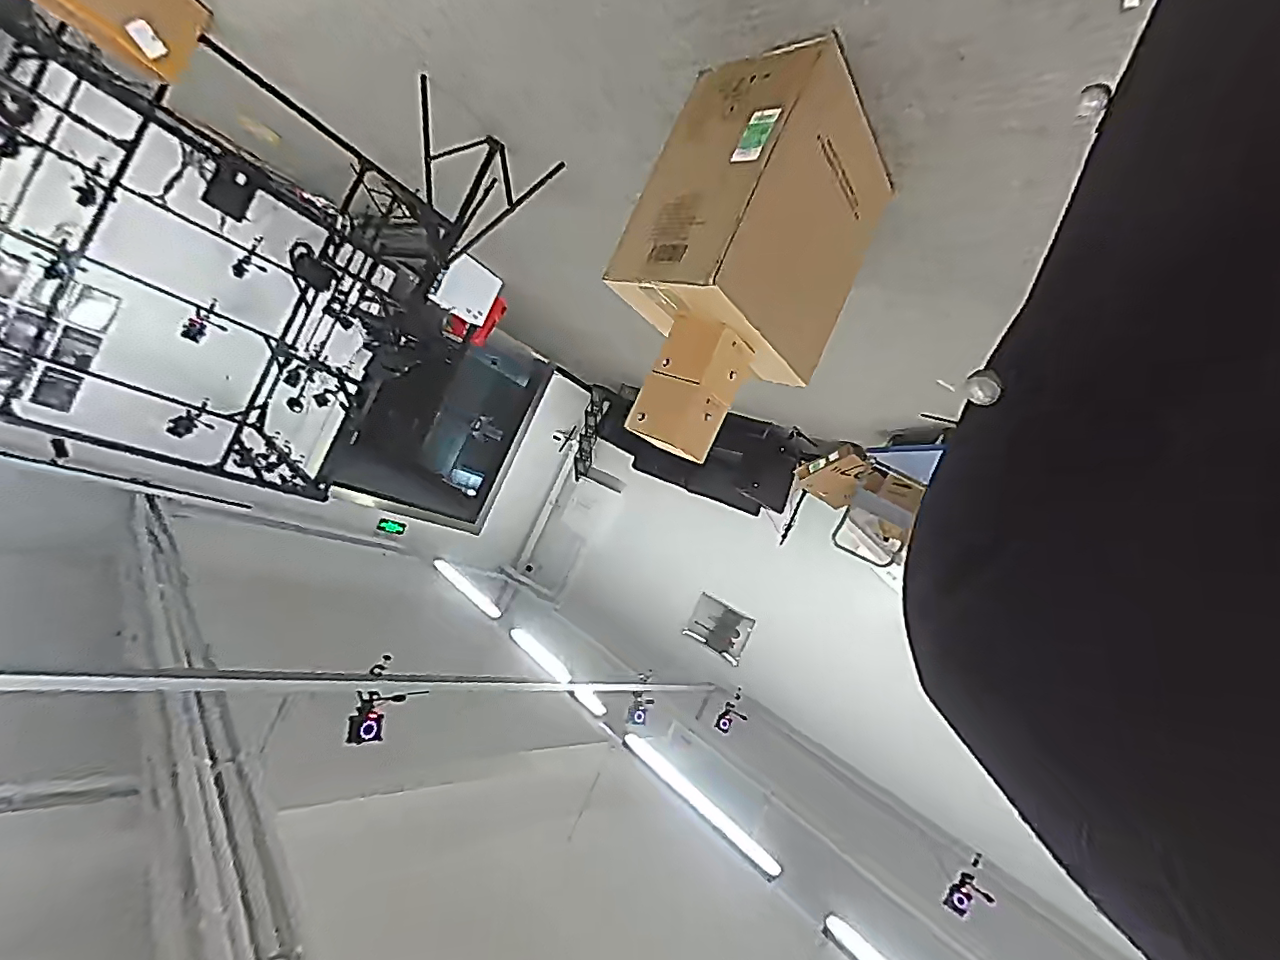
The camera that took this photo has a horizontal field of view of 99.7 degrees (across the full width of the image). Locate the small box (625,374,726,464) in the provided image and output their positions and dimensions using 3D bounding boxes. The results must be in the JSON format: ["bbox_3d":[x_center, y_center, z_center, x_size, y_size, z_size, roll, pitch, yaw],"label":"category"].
[{"bbox_3d":[0.097,-0.165,1.429,0.179,0.176,0.168,24,180,39],"label":"small box"}]

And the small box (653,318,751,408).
[{"bbox_3d":[0.172,-0.312,1.428,0.179,0.176,0.168,25,180,41],"label":"small box"}]
